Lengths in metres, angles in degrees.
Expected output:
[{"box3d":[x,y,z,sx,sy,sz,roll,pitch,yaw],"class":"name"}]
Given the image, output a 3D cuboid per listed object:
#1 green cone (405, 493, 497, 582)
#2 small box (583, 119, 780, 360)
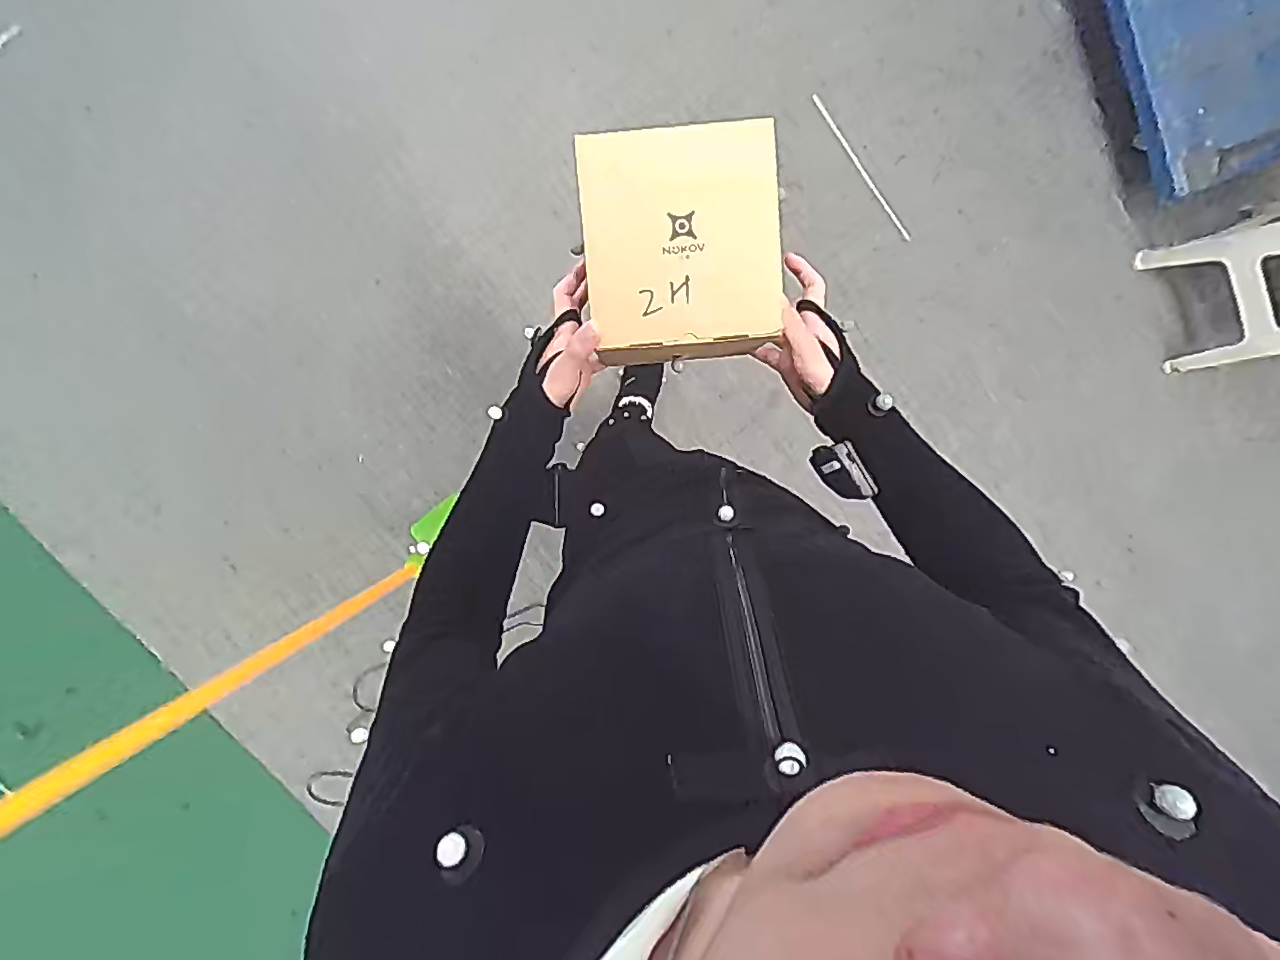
[{"box3d":[-0.546,0.190,1.435,0.200,0.368,0.202,-38,99,3],"class":"green cone"},{"box3d":[0.036,-0.220,0.538,0.168,0.176,0.179,-3,97,1],"class":"small box"}]
